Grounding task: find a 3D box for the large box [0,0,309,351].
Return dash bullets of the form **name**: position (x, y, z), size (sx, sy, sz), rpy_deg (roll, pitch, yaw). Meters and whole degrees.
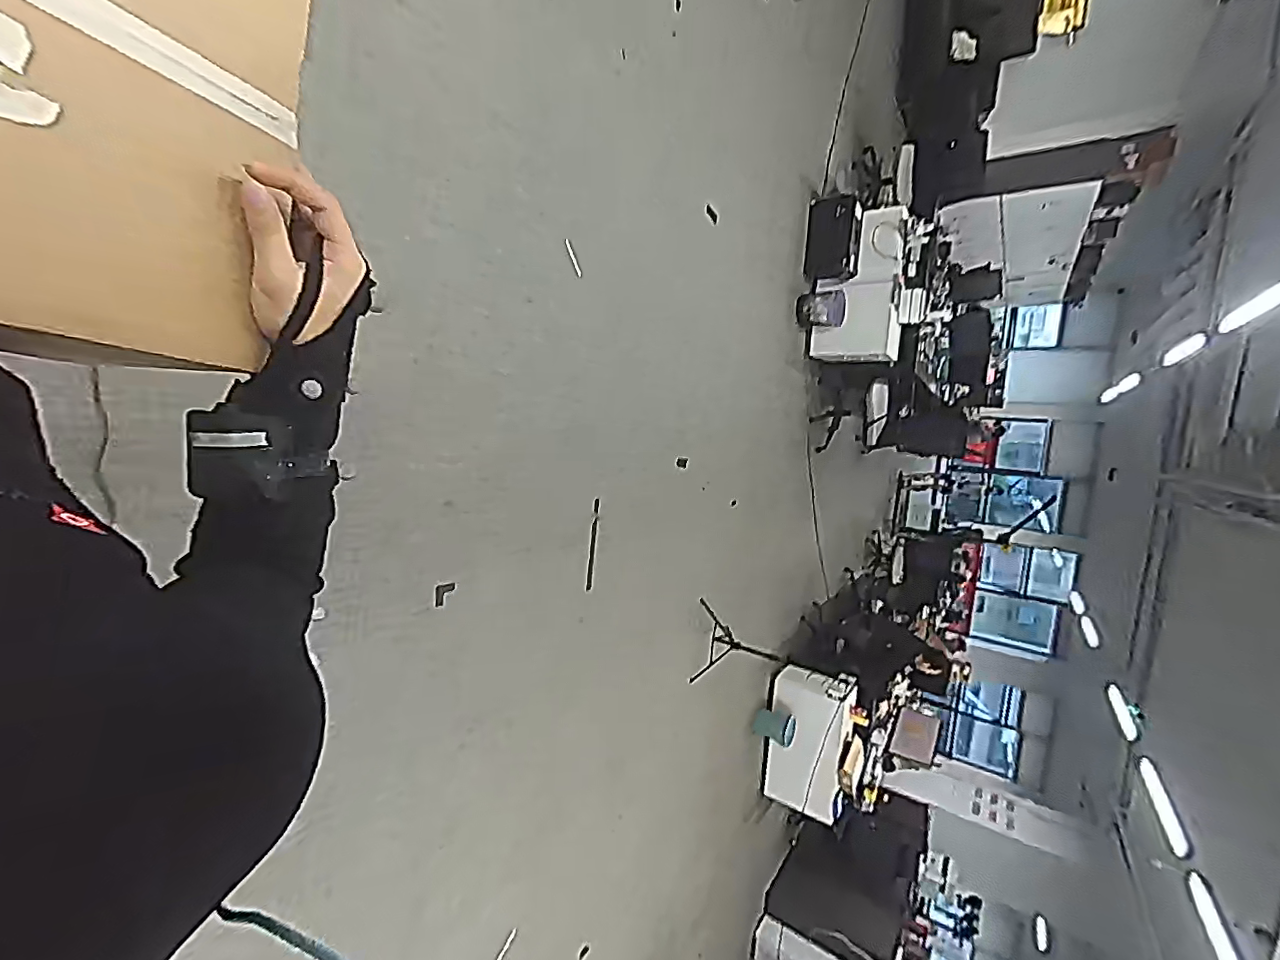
- **large box**: position (-0.455, -0.259, 0.256), size (0.408, 0.320, 0.320), rpy_deg (4, 94, -62)
